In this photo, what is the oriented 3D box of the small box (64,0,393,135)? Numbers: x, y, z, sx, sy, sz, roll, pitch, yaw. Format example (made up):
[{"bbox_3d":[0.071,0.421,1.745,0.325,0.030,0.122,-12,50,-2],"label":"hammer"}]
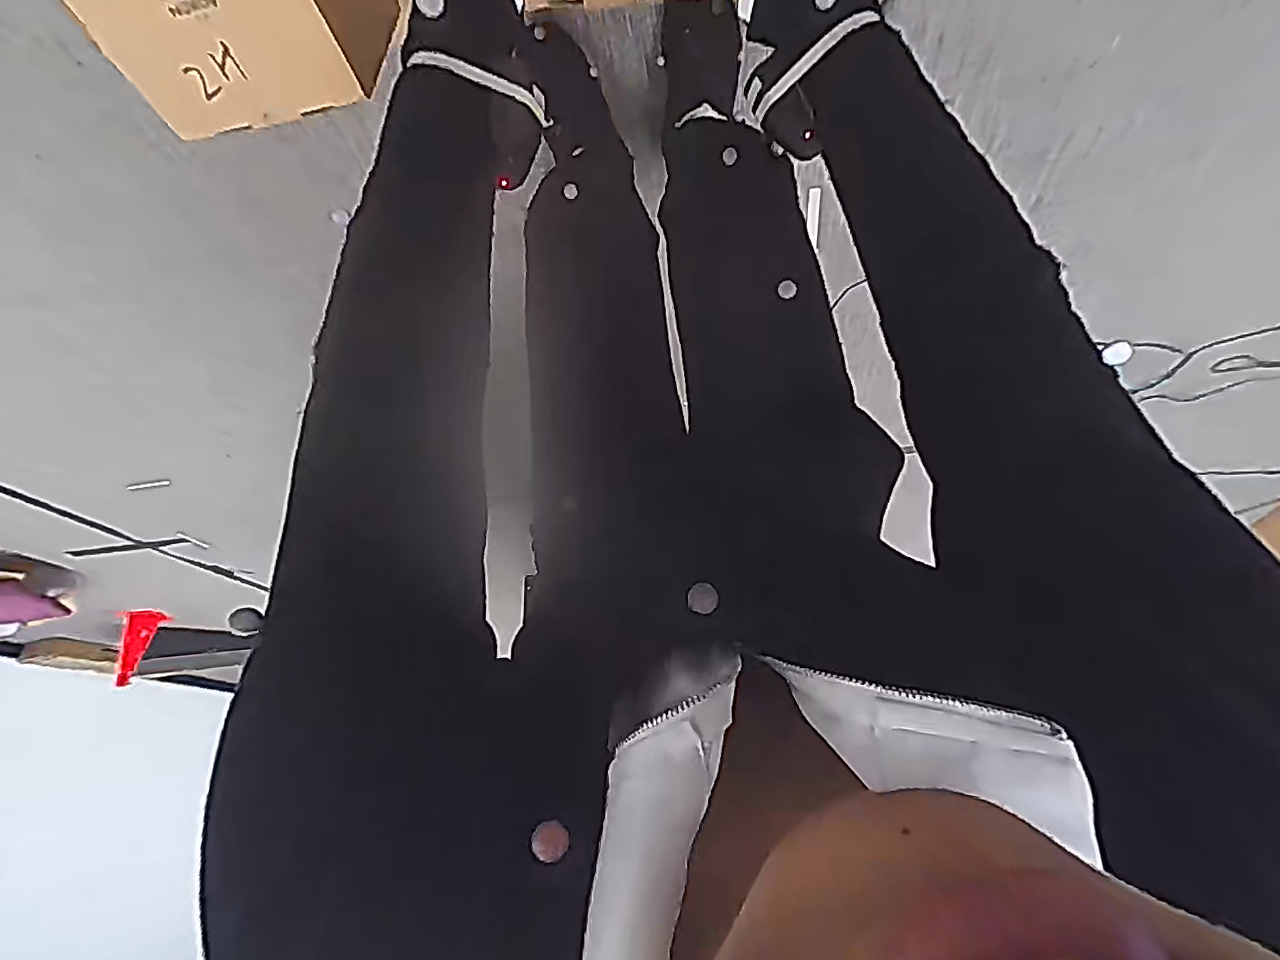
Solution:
[{"bbox_3d":[-0.313,-0.403,0.401,0.168,0.176,0.179,-8,150,6],"label":"small box"}]
